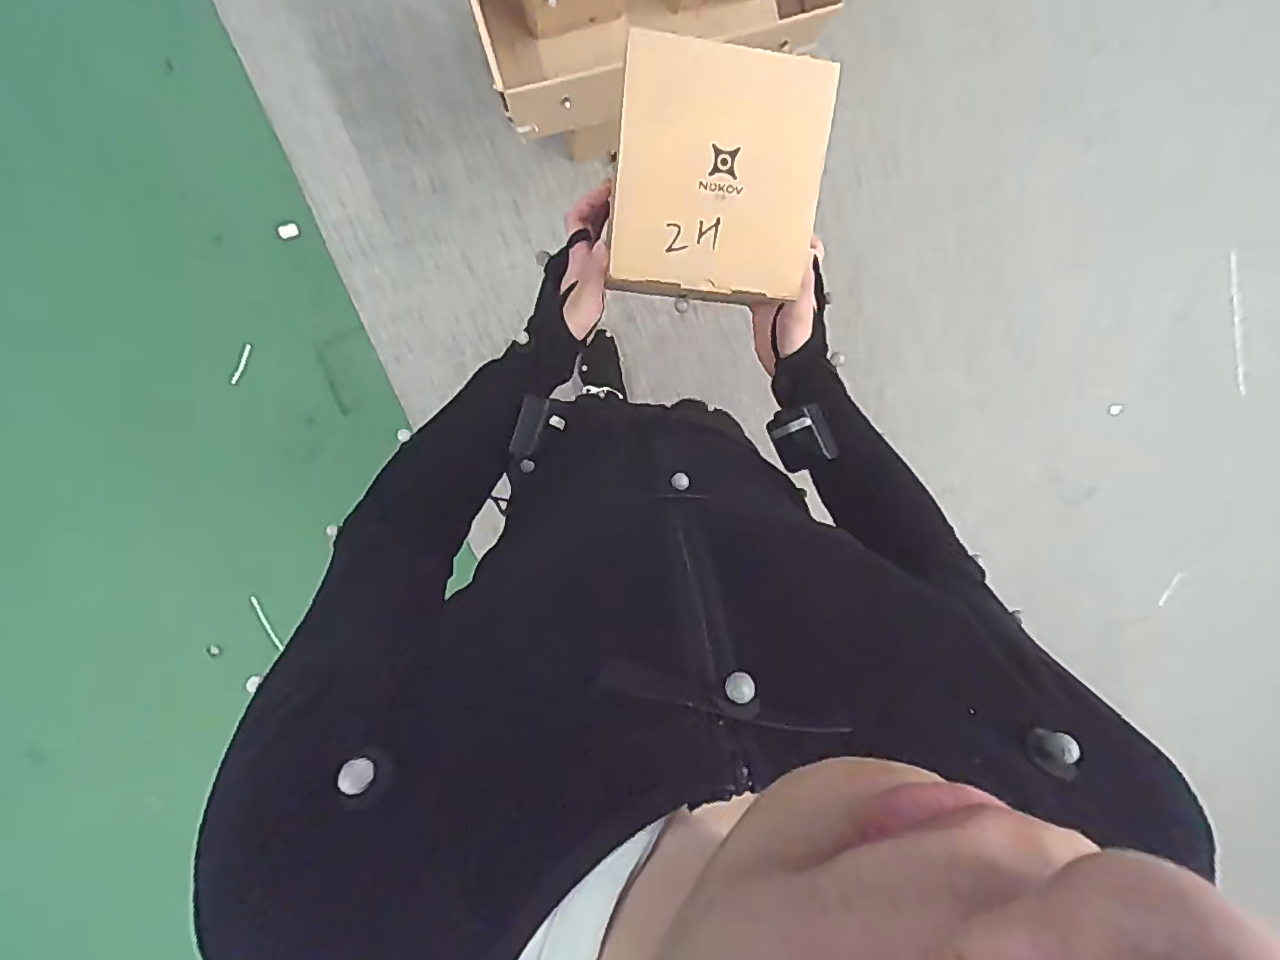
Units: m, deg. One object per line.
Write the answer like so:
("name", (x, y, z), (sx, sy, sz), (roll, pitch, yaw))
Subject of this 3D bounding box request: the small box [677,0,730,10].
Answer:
("small box", (0.133, -0.942, 0.896), (0.168, 0.176, 0.179), (-15, 106, -2))

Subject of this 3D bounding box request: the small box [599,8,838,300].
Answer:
("small box", (0.052, -0.267, 0.490), (0.168, 0.176, 0.179), (5, 106, -6))
